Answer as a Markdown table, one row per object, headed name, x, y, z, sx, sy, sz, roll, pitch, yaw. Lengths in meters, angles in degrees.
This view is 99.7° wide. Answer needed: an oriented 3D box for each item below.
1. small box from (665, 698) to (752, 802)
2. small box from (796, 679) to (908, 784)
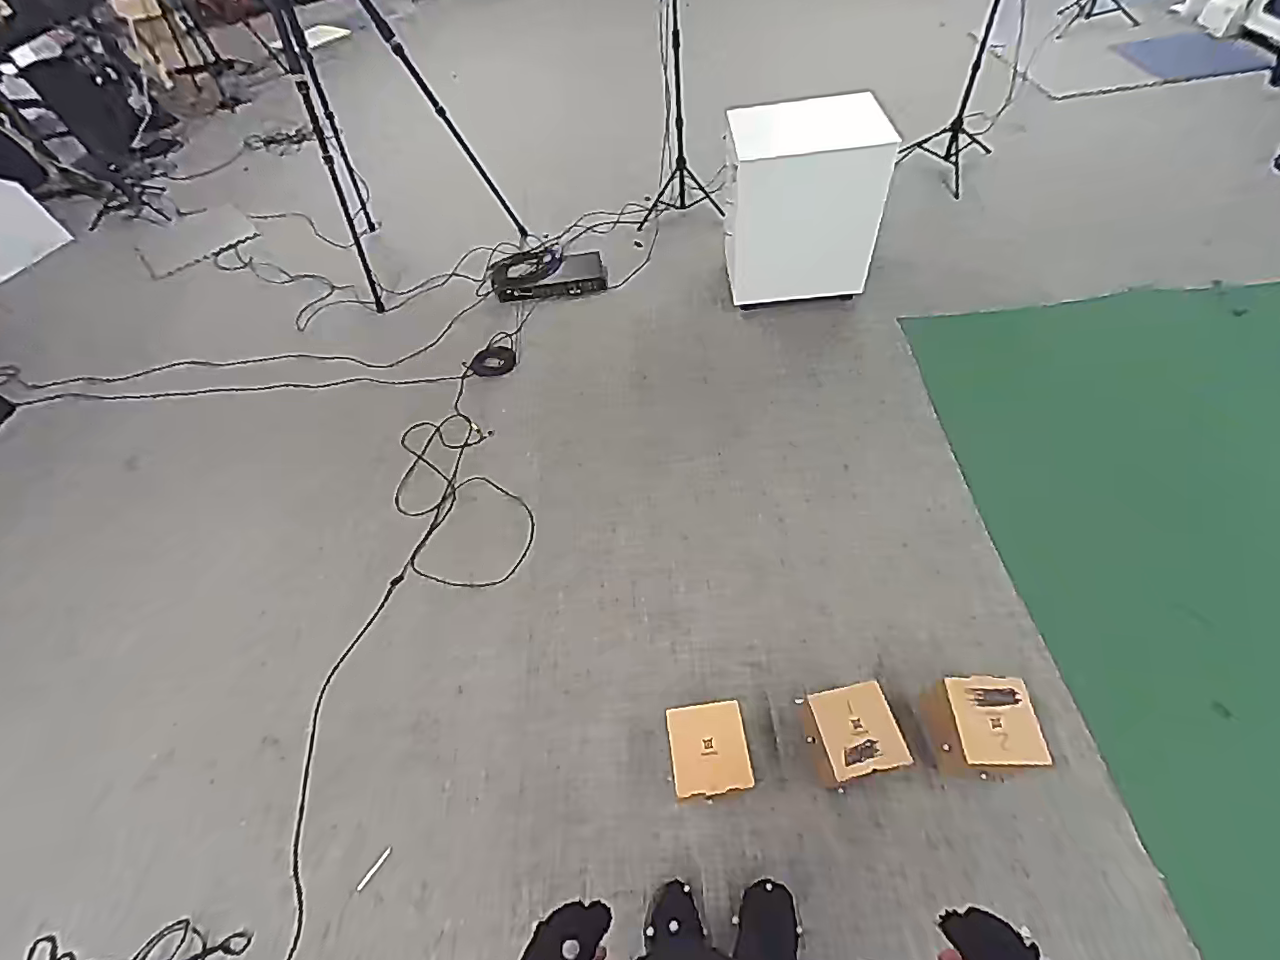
| name | x | y | z | sx | sy | sz | roll | pitch | yaw |
| --- | --- | --- | --- | --- | --- | --- | --- | --- | --- |
| small box | 0.152 | 0.616 | 1.230 | 0.168 | 0.176 | 0.179 | -9 | 55 | 2 |
| small box | 0.467 | 0.573 | 1.219 | 0.168 | 0.176 | 0.179 | -12 | 54 | -2 |
